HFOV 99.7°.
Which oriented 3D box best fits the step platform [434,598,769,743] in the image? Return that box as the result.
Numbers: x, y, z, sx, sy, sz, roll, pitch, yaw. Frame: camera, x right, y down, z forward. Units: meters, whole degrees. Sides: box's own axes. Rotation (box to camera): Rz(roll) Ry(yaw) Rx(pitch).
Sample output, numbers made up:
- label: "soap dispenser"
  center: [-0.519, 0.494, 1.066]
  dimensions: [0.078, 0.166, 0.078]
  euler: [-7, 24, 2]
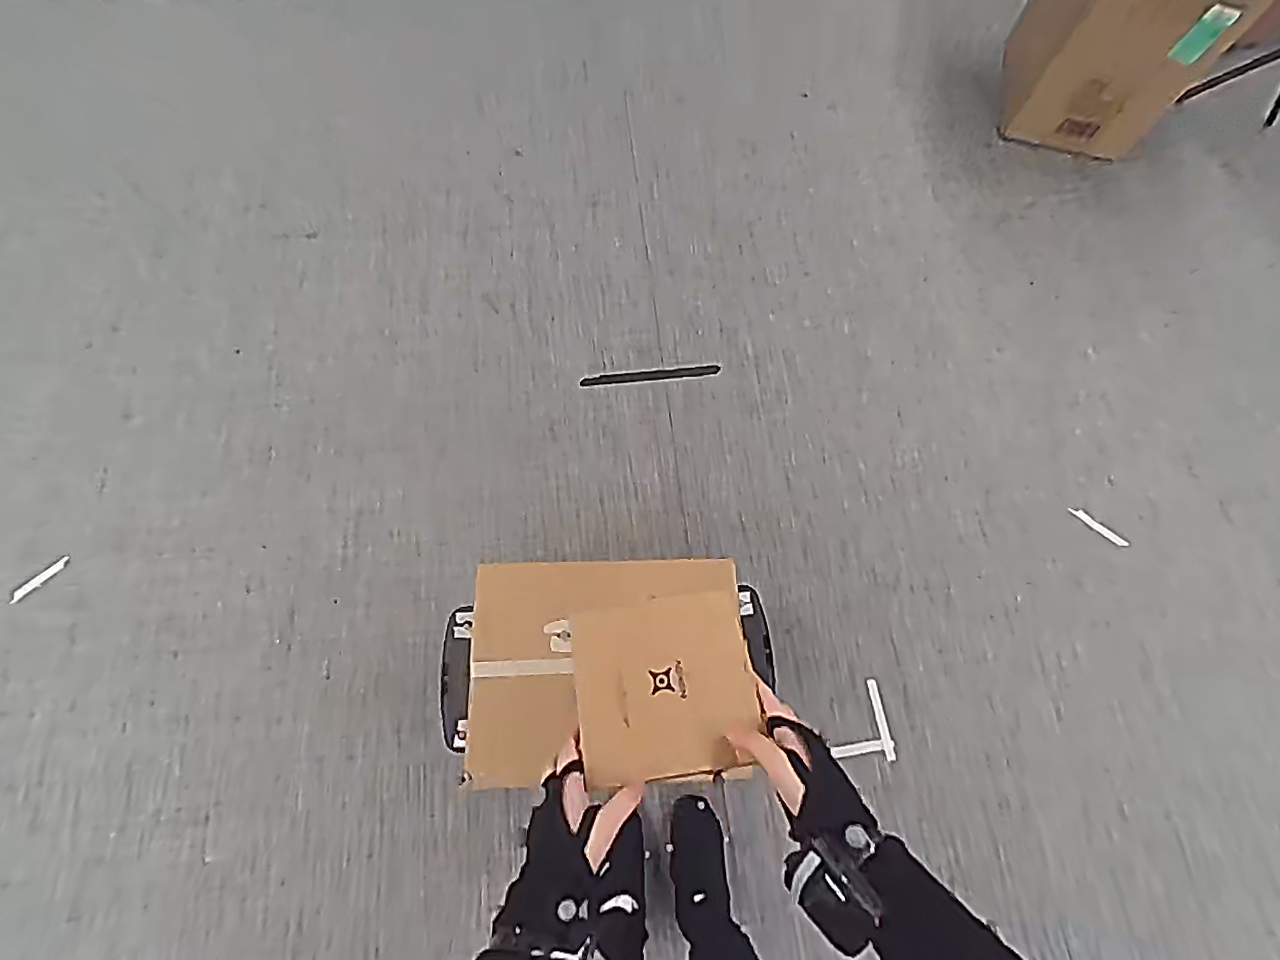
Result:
- label: "step platform"
  center: [-0.074, 0.401, 1.153]
  dimensions: [0.684, 0.204, 0.286]
  euler: [0, 71, -1]

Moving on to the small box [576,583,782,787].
- label: "small box"
  center: [0.028, 0.223, 0.577]
  dimensions: [0.179, 0.176, 0.168]
  euler: [-6, 60, -5]

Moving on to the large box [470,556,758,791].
- label: "large box"
  center: [-0.041, 0.319, 0.930]
  dimensions: [0.408, 0.320, 0.320]
  euler: [-1, 71, -1]
